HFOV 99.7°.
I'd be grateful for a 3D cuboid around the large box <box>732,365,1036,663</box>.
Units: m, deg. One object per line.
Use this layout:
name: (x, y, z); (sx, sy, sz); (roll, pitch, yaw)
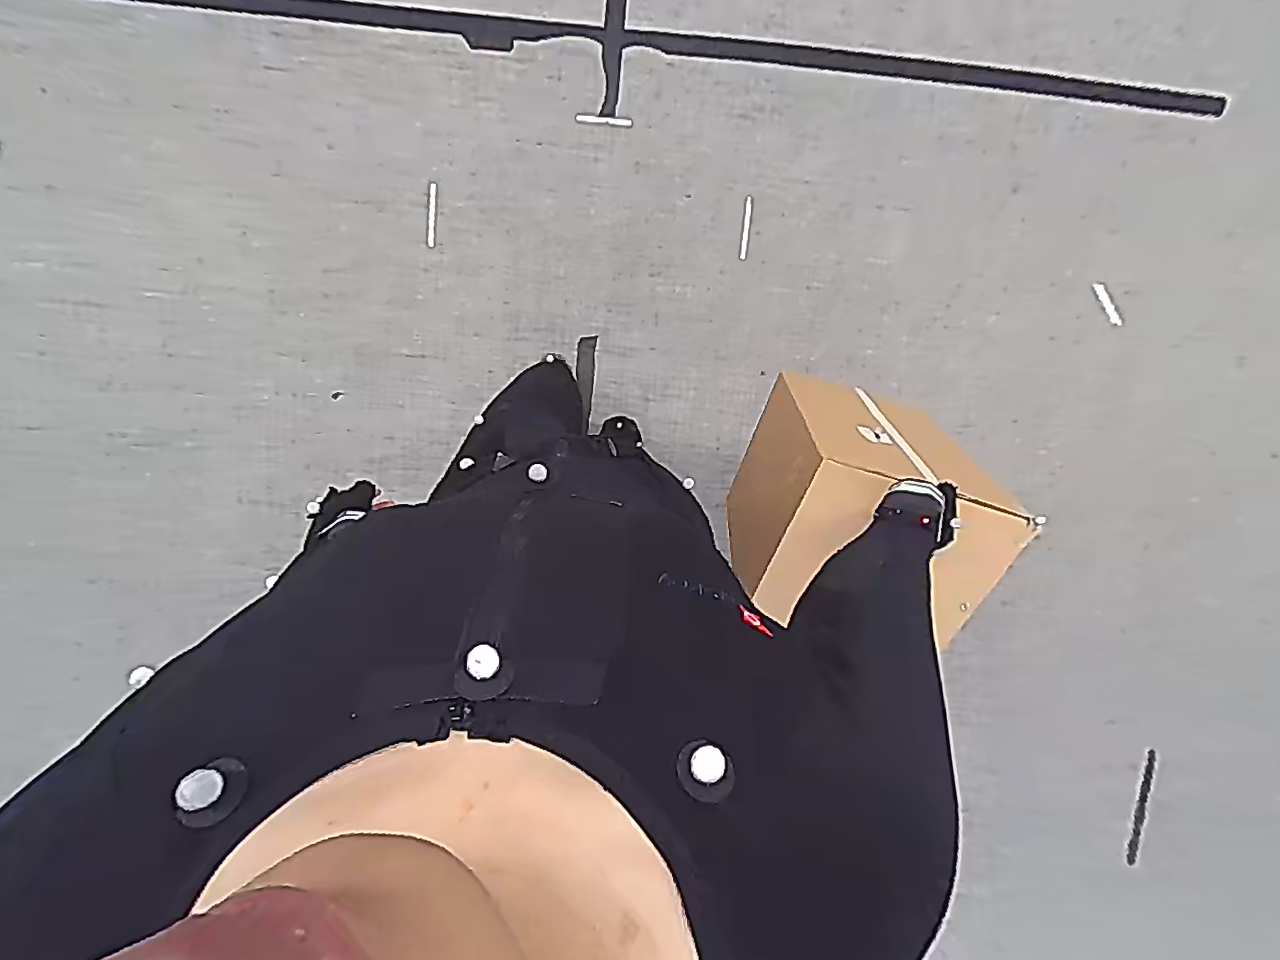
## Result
large box: (0.372, 0.040, 0.970); (0.320, 0.408, 0.320); (16, 121, -3)
